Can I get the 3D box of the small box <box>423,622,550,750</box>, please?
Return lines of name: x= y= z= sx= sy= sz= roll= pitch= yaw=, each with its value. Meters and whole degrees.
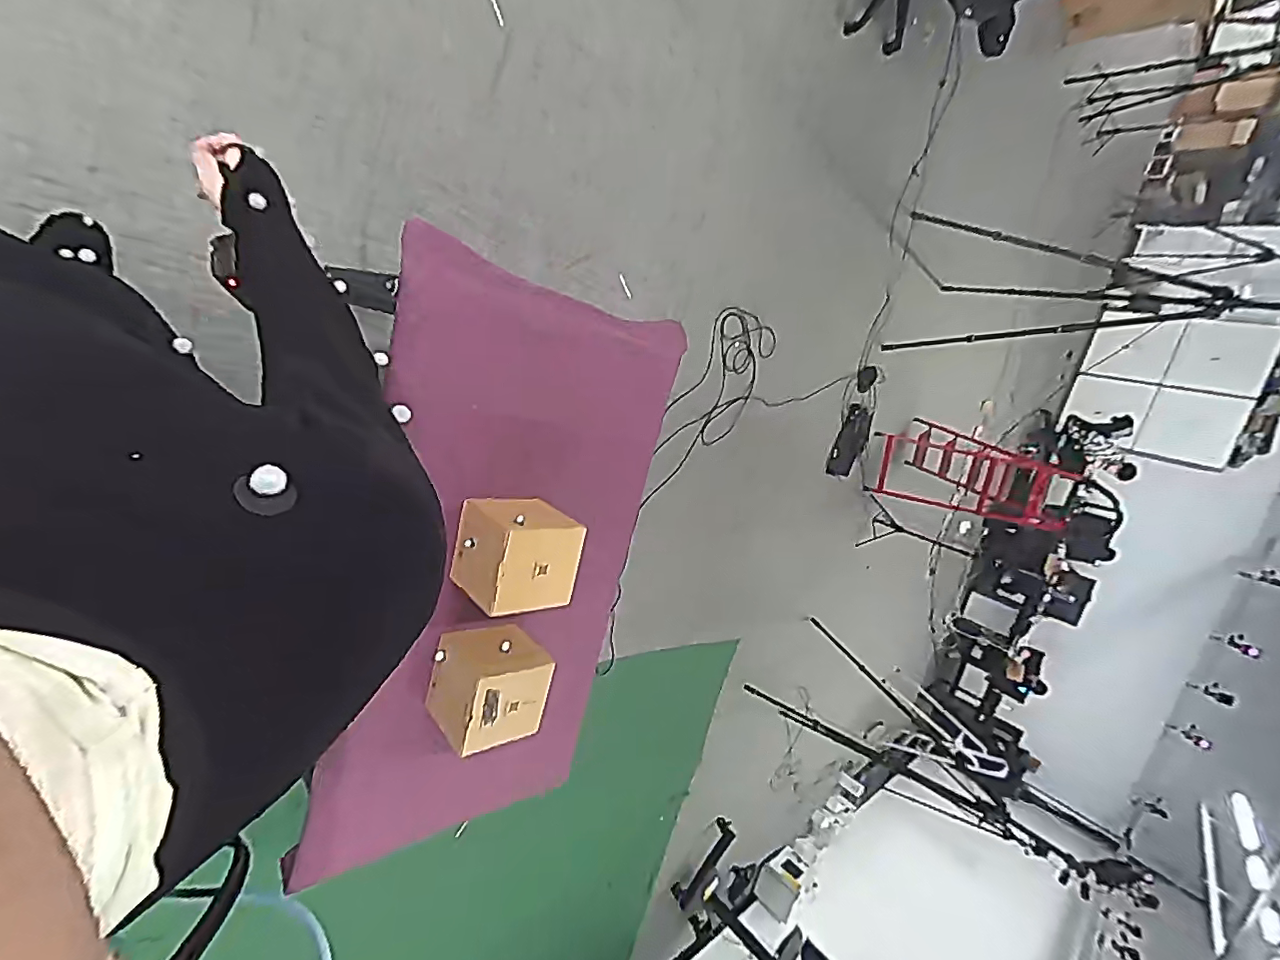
small box: x=-0.319 y=0.409 z=1.106 sx=0.179 sy=0.176 sz=0.168 roll=6 pitch=104 yaw=-47

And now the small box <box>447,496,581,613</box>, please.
small box: x=-0.248 y=0.135 z=1.053 sx=0.179 sy=0.176 sz=0.168 roll=3 pitch=107 yaw=-45
